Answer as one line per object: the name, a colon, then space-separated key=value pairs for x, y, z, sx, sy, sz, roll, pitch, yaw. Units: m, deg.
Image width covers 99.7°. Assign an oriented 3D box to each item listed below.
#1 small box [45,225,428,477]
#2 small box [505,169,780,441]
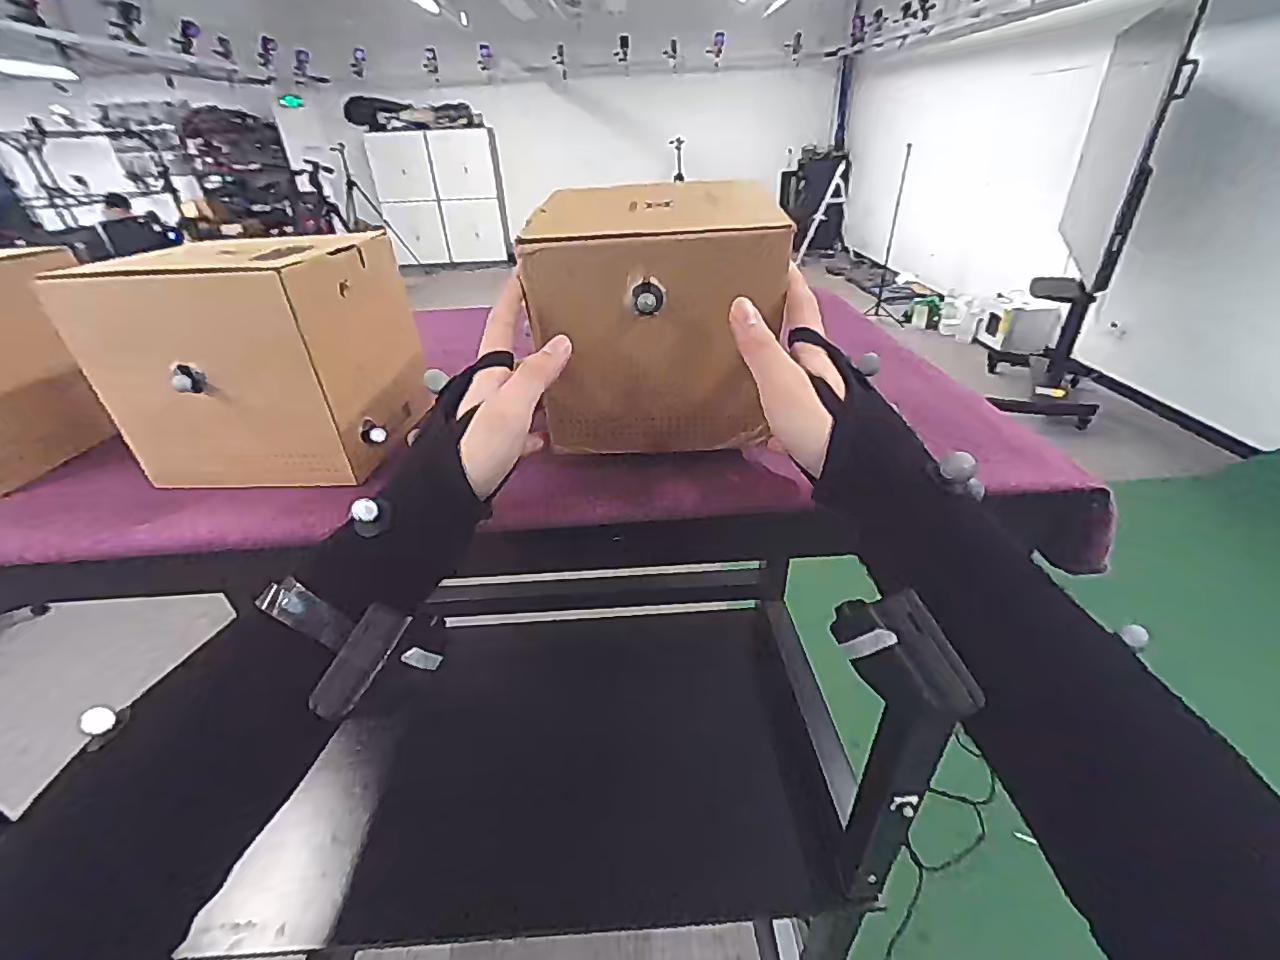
small box: x=-0.310 y=-0.114 z=0.469 sx=0.179 sy=0.176 sz=0.168 roll=-2 pitch=32 yaw=4
small box: x=0.009 y=-0.143 z=0.445 sx=0.179 sy=0.176 sz=0.168 roll=-1 pitch=39 yaw=4
